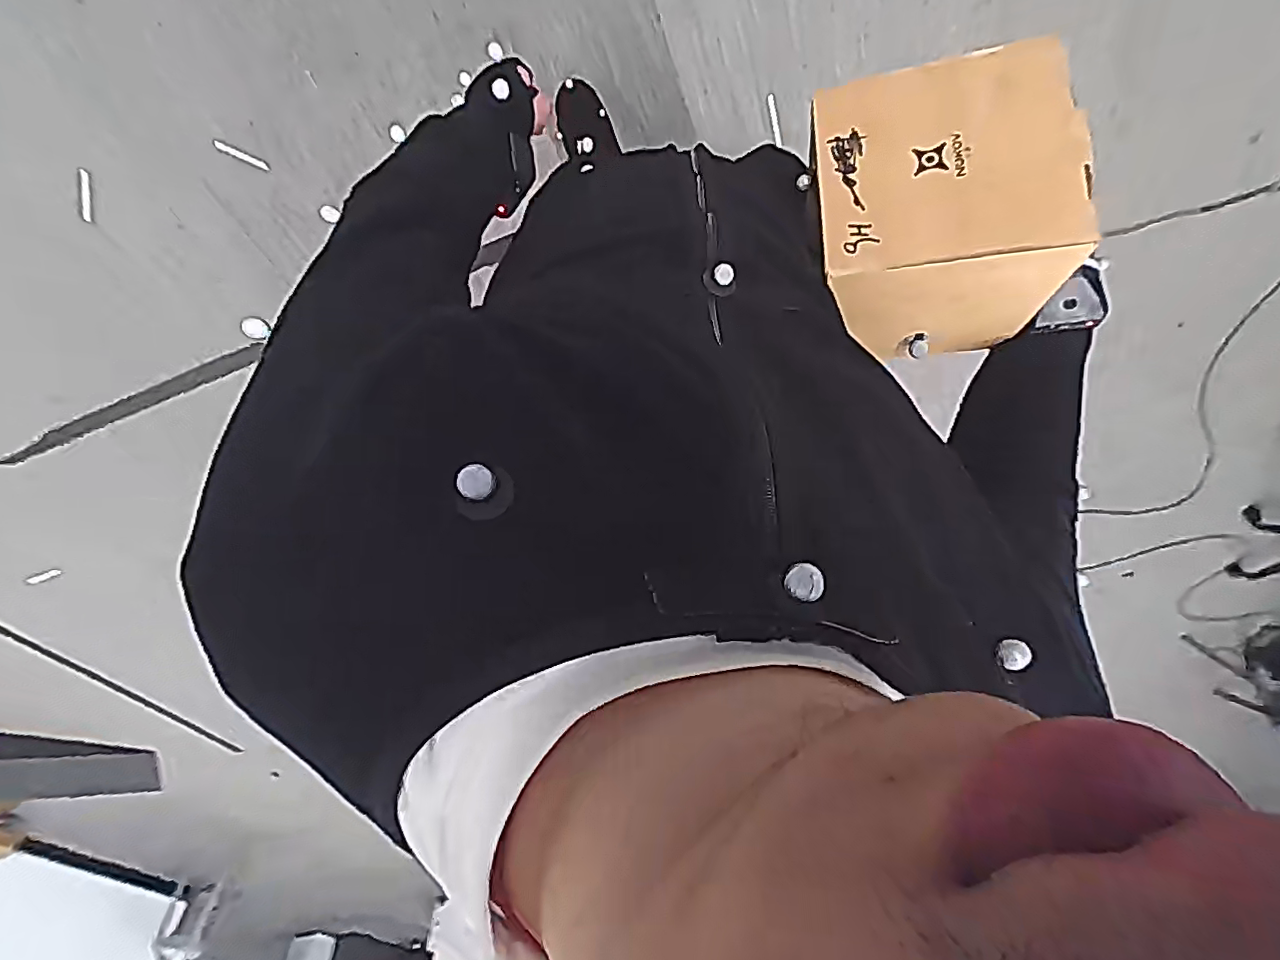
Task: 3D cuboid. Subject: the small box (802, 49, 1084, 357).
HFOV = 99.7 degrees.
[{"bbox_3d":[0.245,-0.224,0.487,0.179,0.168,0.176,-3,168,14],"label":"small box"}]
